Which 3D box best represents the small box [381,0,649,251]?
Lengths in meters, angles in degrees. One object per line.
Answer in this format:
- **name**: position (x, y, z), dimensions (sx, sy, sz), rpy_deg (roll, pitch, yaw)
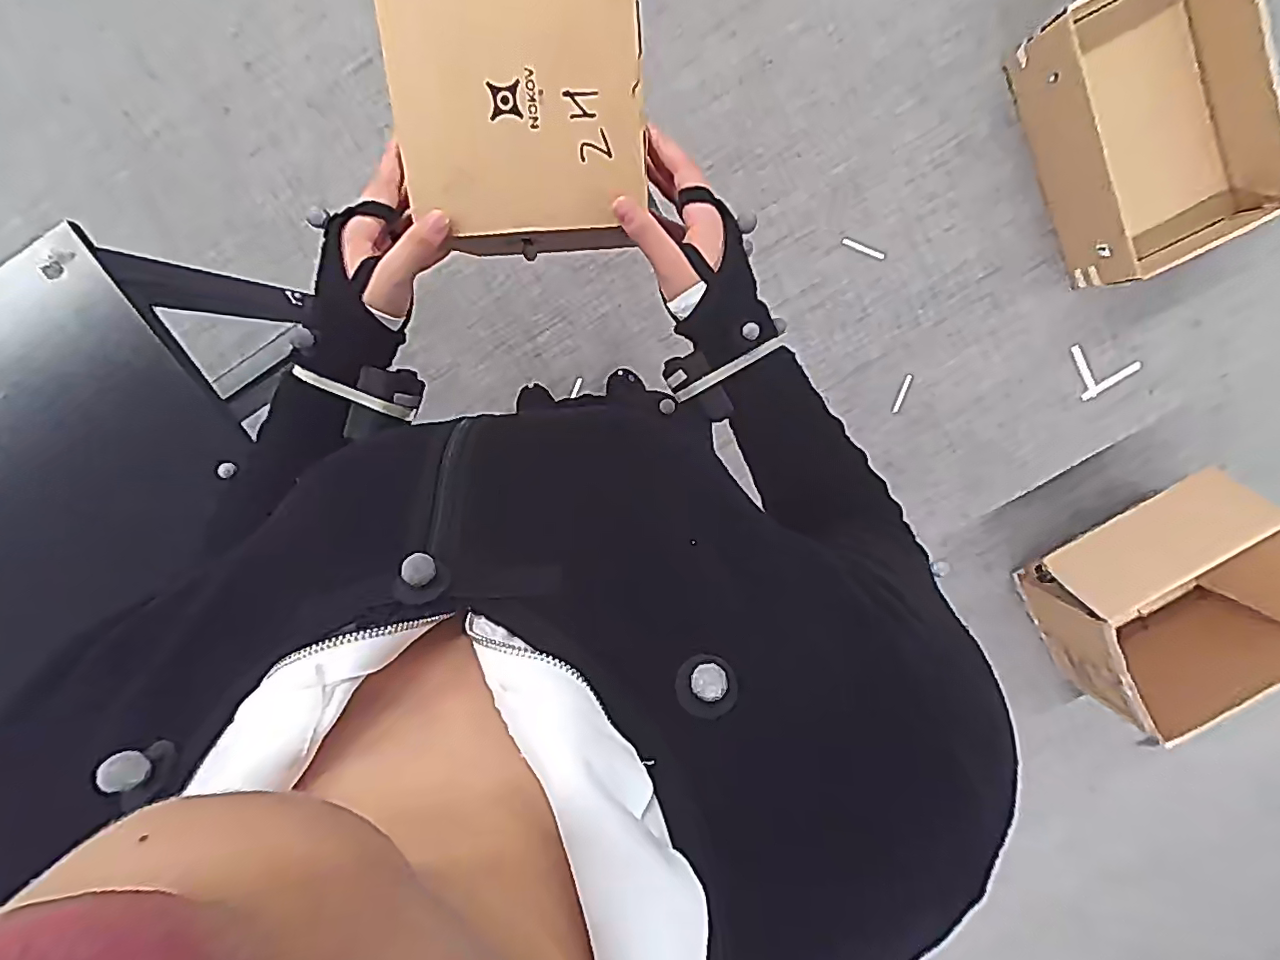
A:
- **small box**: position (-0.083, -0.291, 0.453), dimensions (0.179, 0.176, 0.168), rpy_deg (-4, 109, 1)
